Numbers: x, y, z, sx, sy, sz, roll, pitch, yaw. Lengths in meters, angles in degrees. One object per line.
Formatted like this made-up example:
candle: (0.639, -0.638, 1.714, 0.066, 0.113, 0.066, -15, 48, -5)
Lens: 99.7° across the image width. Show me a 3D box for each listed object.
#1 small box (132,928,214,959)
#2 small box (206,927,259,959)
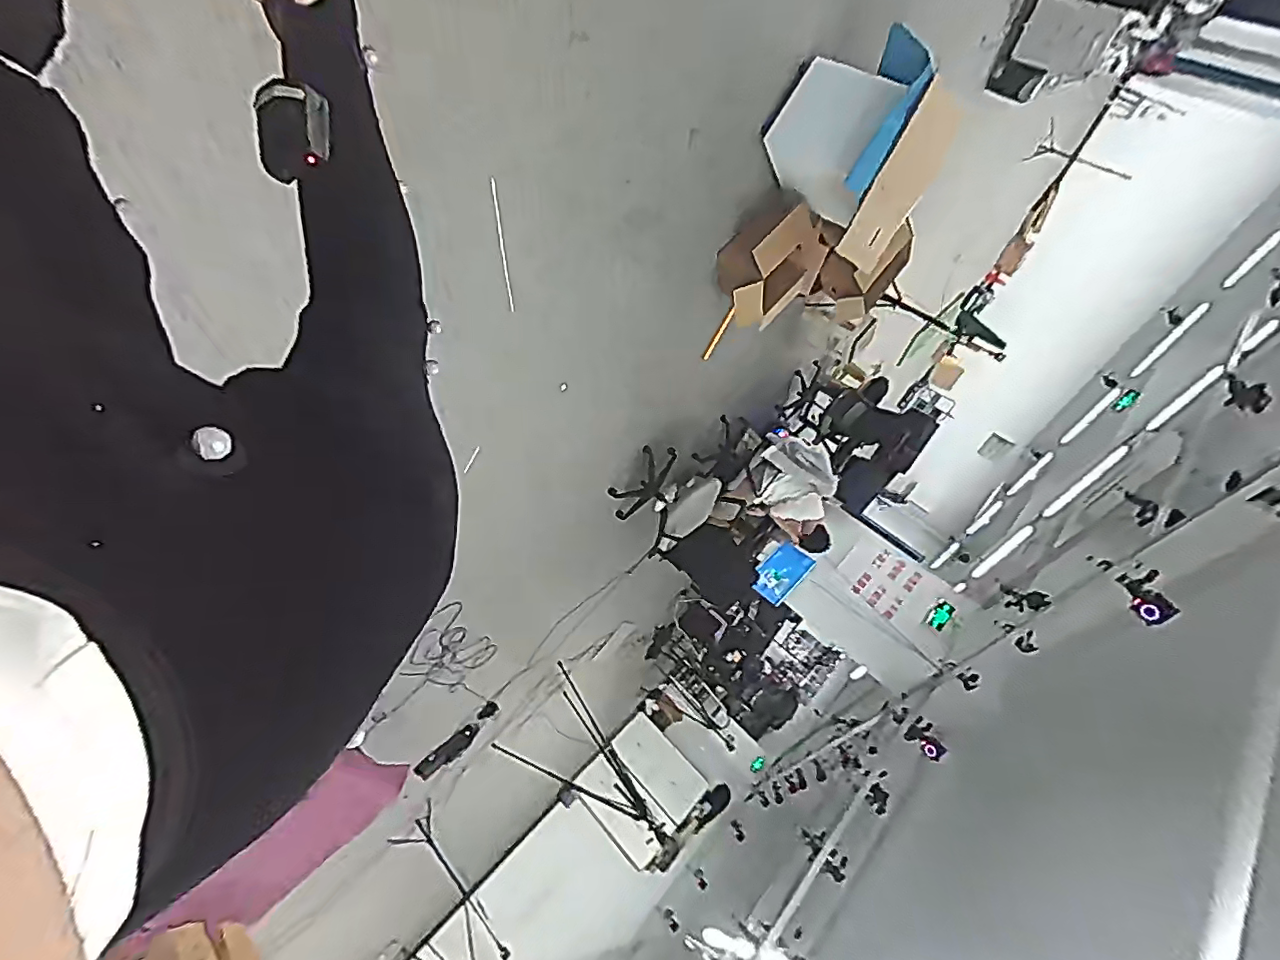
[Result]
small box: (-1.278, 1.351, 1.452, 0.168, 0.176, 0.179, -38, 155, -29)
small box: (-1.307, 1.523, 1.664, 0.168, 0.176, 0.179, -36, 152, -29)
